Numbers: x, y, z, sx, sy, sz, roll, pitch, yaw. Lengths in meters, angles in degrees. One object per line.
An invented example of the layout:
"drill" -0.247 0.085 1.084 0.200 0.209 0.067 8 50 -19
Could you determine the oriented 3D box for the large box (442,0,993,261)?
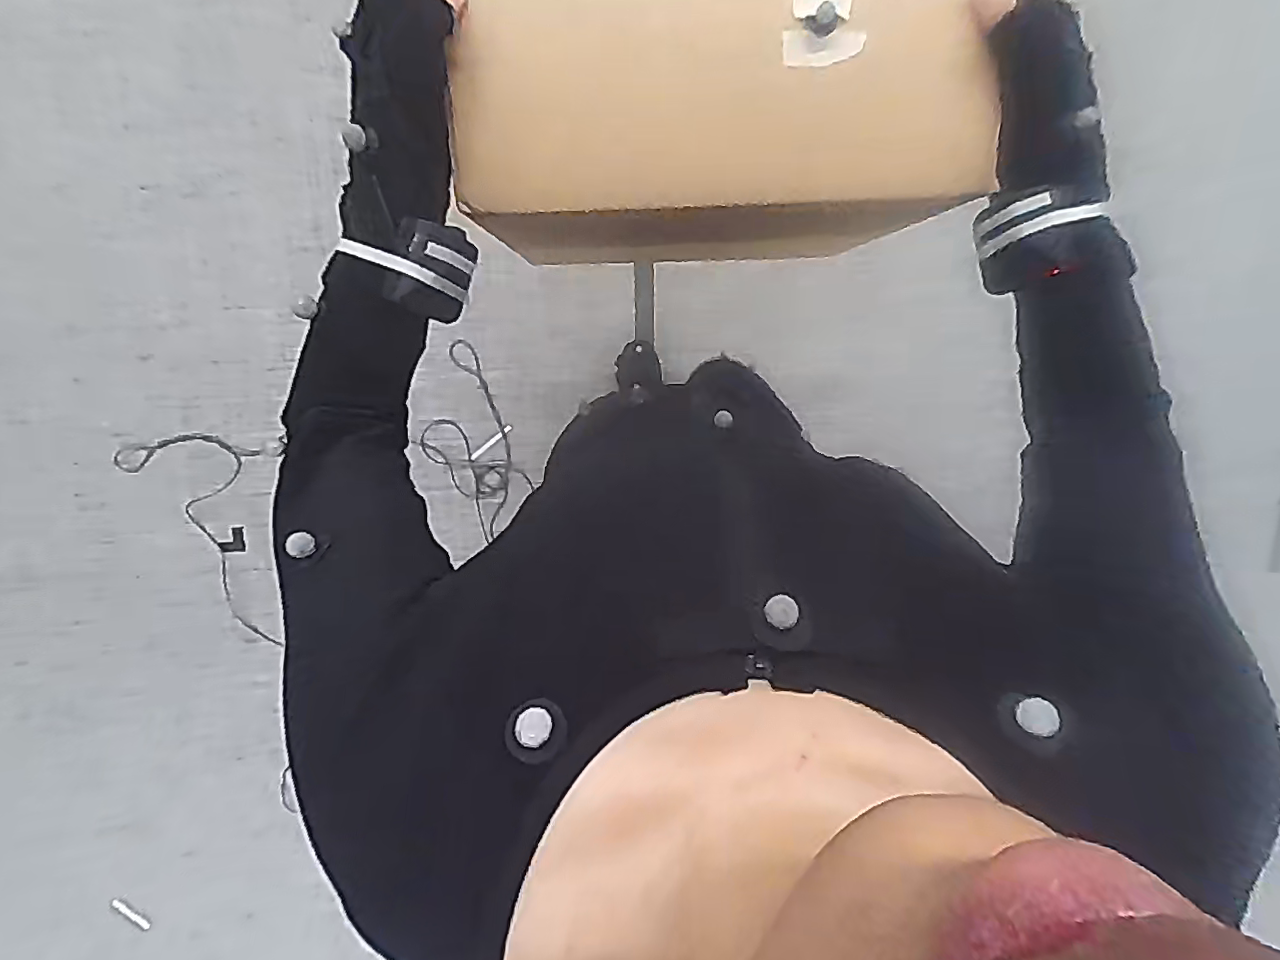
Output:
"large box" 0.050 -0.407 0.523 0.408 0.320 0.320 -3 105 -1
